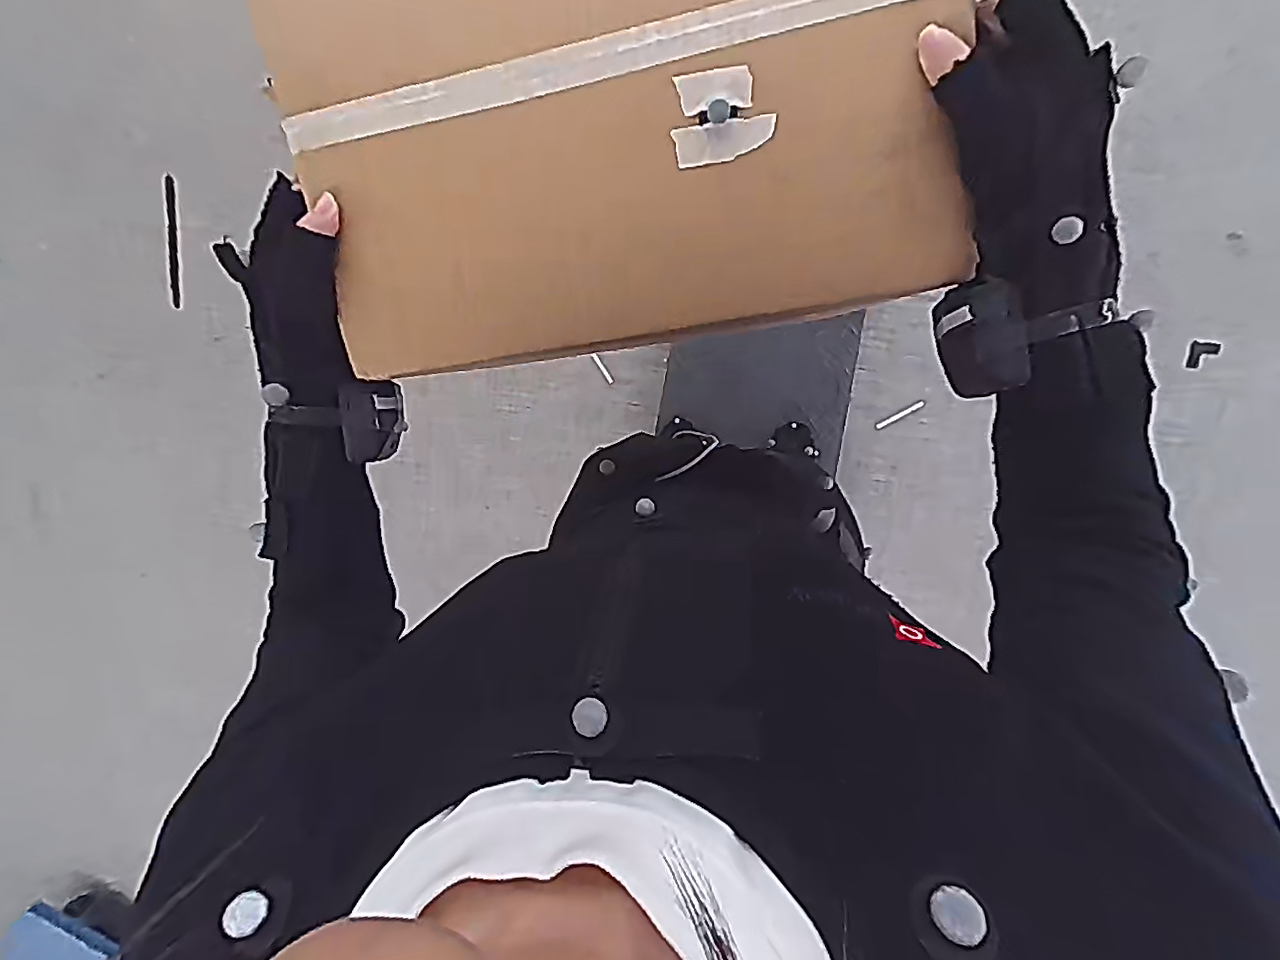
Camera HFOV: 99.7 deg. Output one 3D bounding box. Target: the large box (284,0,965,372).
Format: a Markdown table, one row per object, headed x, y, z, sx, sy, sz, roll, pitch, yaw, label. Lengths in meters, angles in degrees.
| x | y | z | sx | sy | sz | roll | pitch | yaw | label |
| --- | --- | --- | --- | --- | --- | --- | --- | --- | --- |
| -0.003 | -0.286 | 0.473 | 0.408 | 0.320 | 0.320 | -7 | 103 | 8 | large box |
